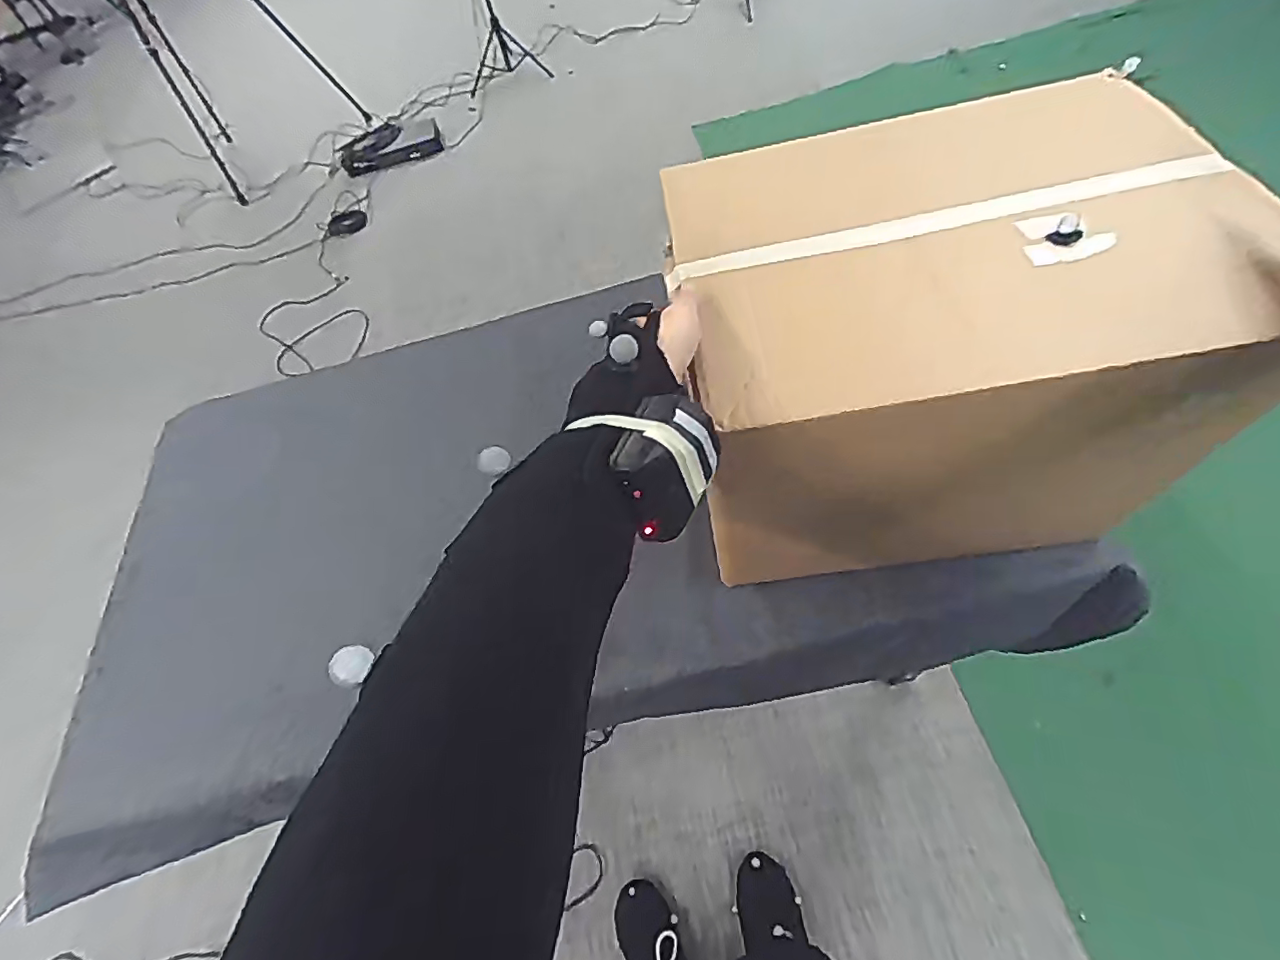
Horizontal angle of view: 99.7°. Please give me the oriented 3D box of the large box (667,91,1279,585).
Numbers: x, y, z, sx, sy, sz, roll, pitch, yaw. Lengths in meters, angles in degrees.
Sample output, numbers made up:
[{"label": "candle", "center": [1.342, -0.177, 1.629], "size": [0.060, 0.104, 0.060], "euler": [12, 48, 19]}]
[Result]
[{"label": "large box", "center": [0.255, -0.114, 0.546], "size": [0.408, 0.320, 0.320], "euler": [-9, 59, 5]}]
